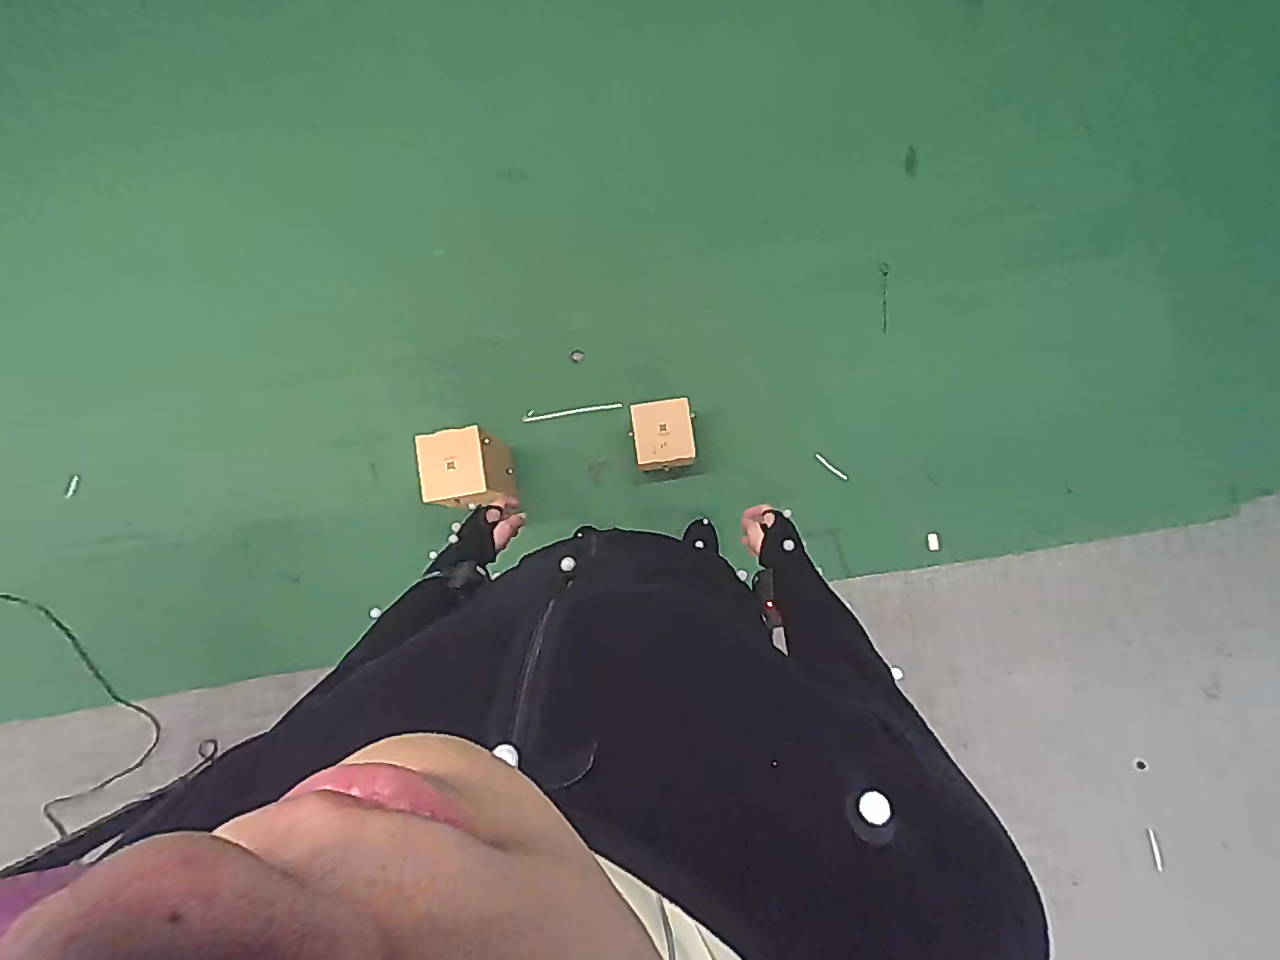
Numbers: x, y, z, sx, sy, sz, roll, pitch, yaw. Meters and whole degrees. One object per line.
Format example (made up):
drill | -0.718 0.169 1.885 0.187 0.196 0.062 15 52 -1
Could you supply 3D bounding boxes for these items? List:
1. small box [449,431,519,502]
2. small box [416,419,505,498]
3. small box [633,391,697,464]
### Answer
small box | -0.468 -0.036 1.601 0.168 0.176 0.179 -10 86 1
small box | -0.470 -0.050 1.440 0.168 0.176 0.179 -10 84 2
small box | 0.069 -0.150 1.595 0.168 0.176 0.179 -8 85 1
